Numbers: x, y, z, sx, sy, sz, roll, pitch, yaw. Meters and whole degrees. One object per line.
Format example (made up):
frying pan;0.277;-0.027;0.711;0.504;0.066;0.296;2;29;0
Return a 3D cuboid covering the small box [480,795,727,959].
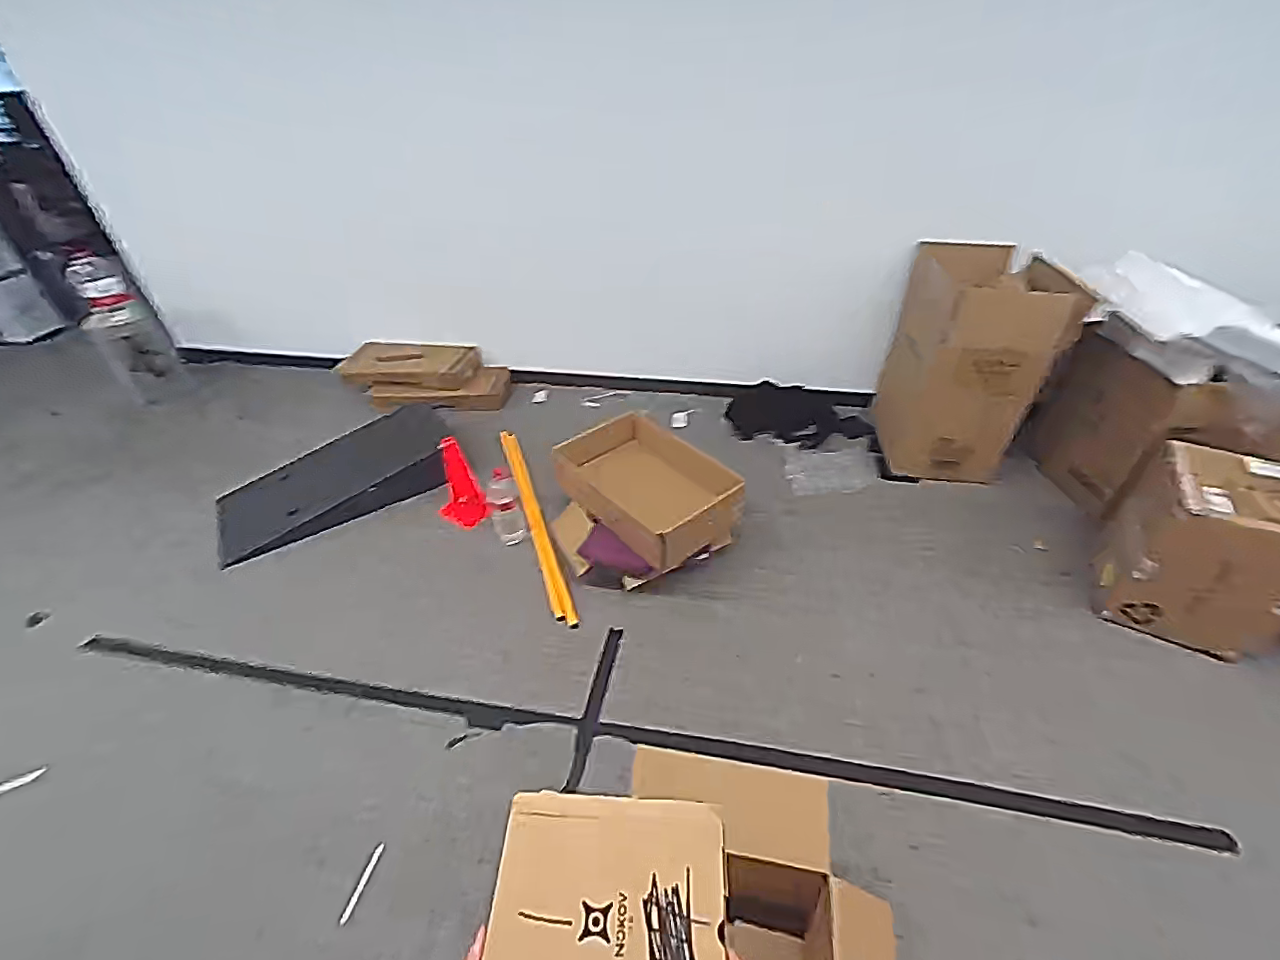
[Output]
small box;-0.022;0.377;0.446;0.179;0.176;0.168;0;46;4
